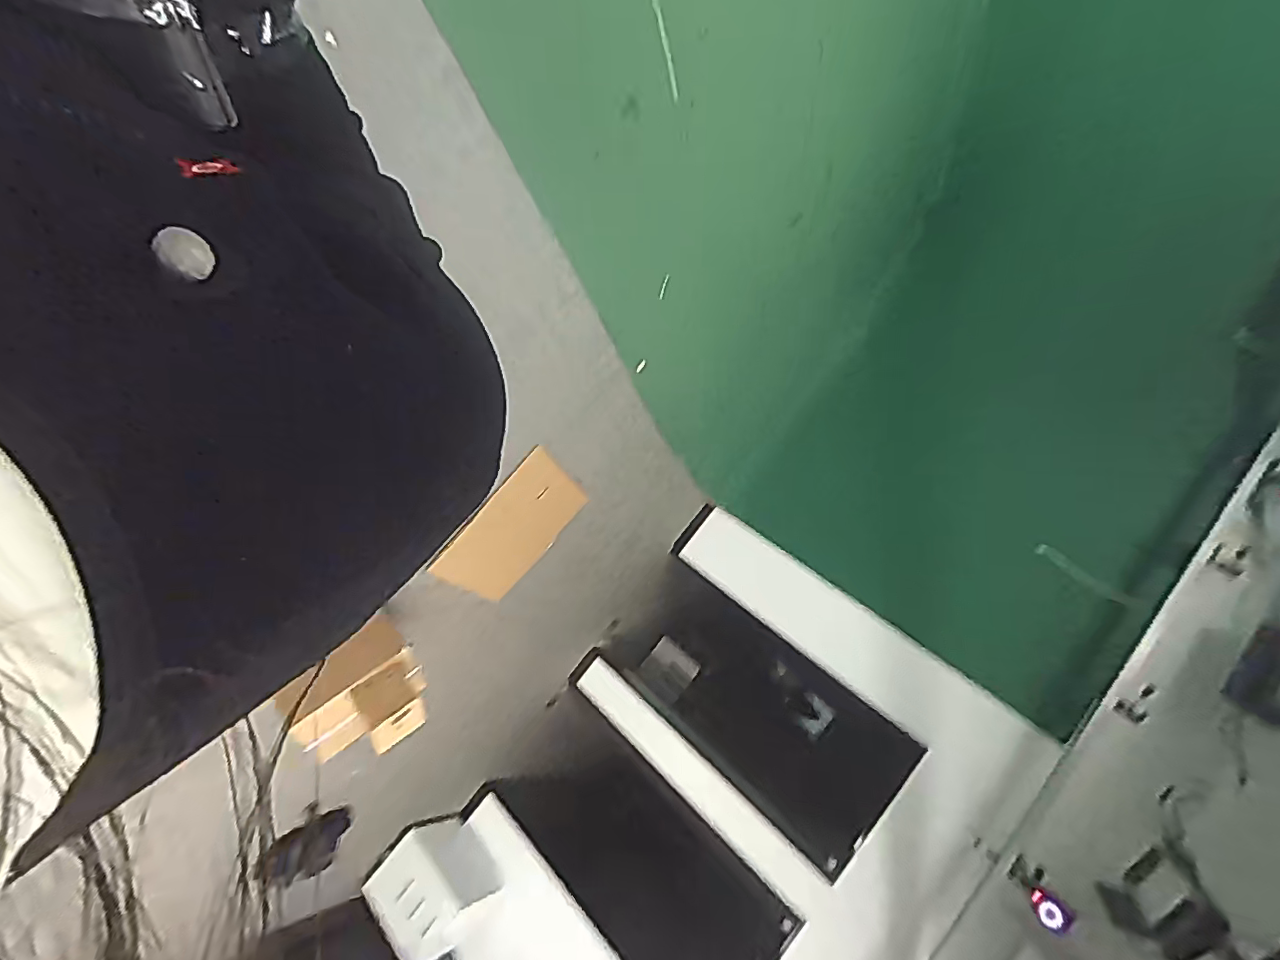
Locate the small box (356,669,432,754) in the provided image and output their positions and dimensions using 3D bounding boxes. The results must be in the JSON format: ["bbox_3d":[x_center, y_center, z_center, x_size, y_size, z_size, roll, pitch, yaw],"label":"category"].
[{"bbox_3d":[-0.830,0.770,1.824,0.168,0.176,0.179,-30,143,-38],"label":"small box"}]
